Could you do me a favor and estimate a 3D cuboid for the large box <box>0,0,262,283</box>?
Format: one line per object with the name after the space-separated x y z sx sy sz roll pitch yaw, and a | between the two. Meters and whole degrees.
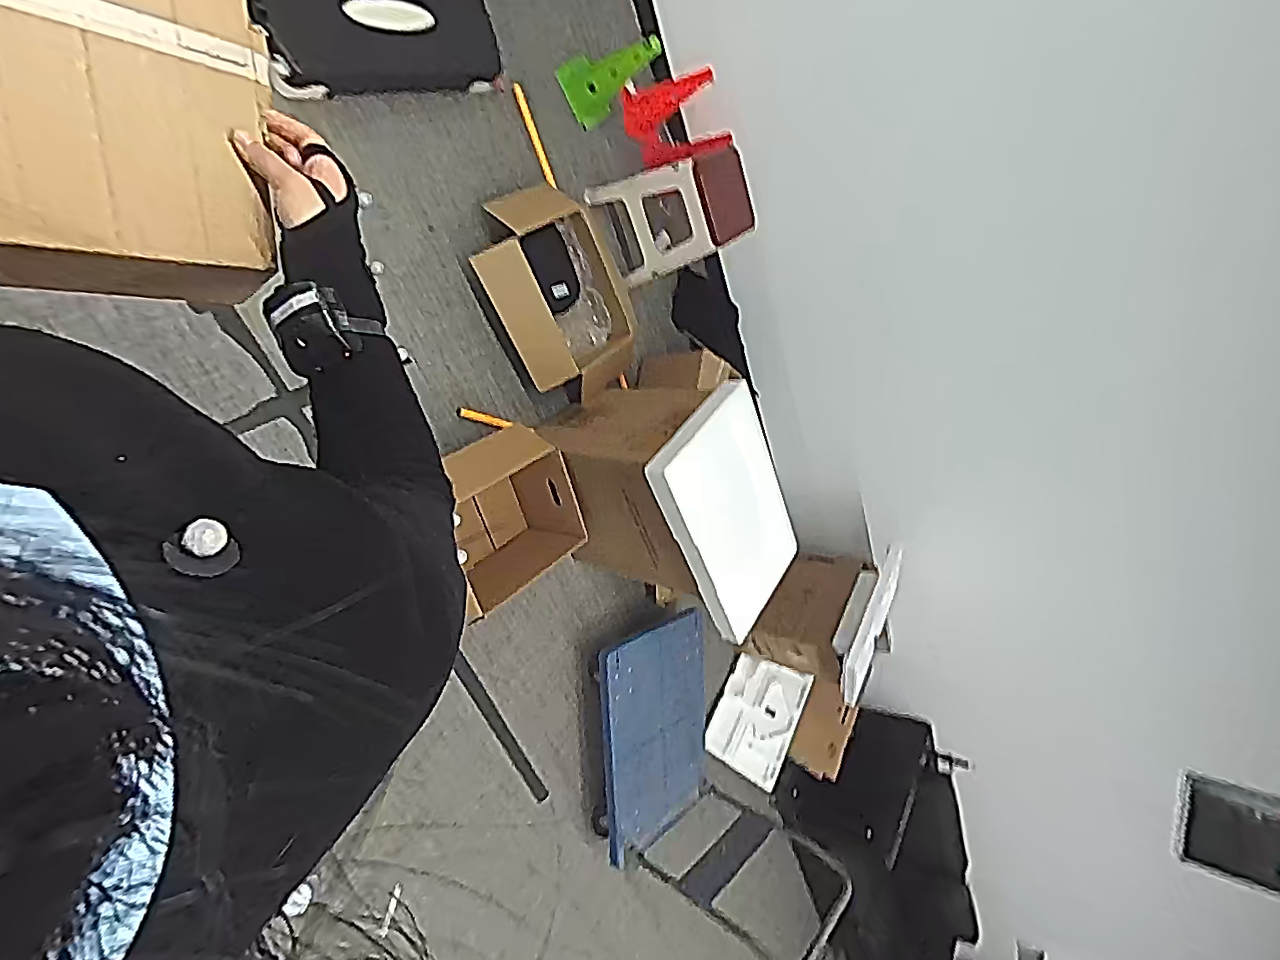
-0.573 -0.342 0.423 0.408 0.320 0.320 -10 105 -39 | large box
